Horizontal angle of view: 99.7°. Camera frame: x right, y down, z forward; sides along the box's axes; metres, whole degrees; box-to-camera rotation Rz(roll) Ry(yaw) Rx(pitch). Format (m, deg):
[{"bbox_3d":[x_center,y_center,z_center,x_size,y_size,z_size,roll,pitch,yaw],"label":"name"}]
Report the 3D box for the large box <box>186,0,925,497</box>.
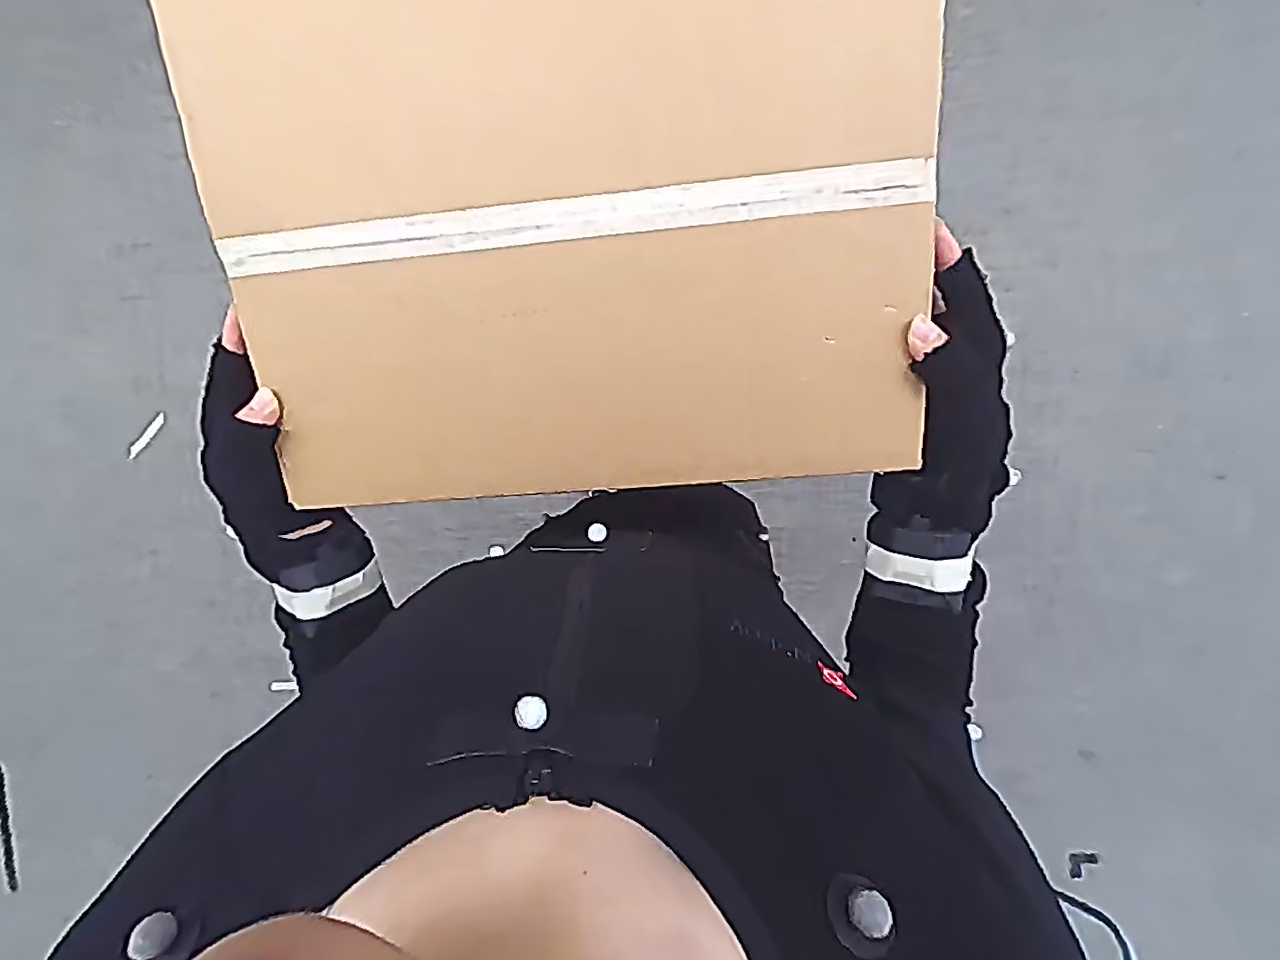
[{"bbox_3d":[-0.034,-0.189,0.460,0.408,0.320,0.320,-4,106,5],"label":"large box"}]
